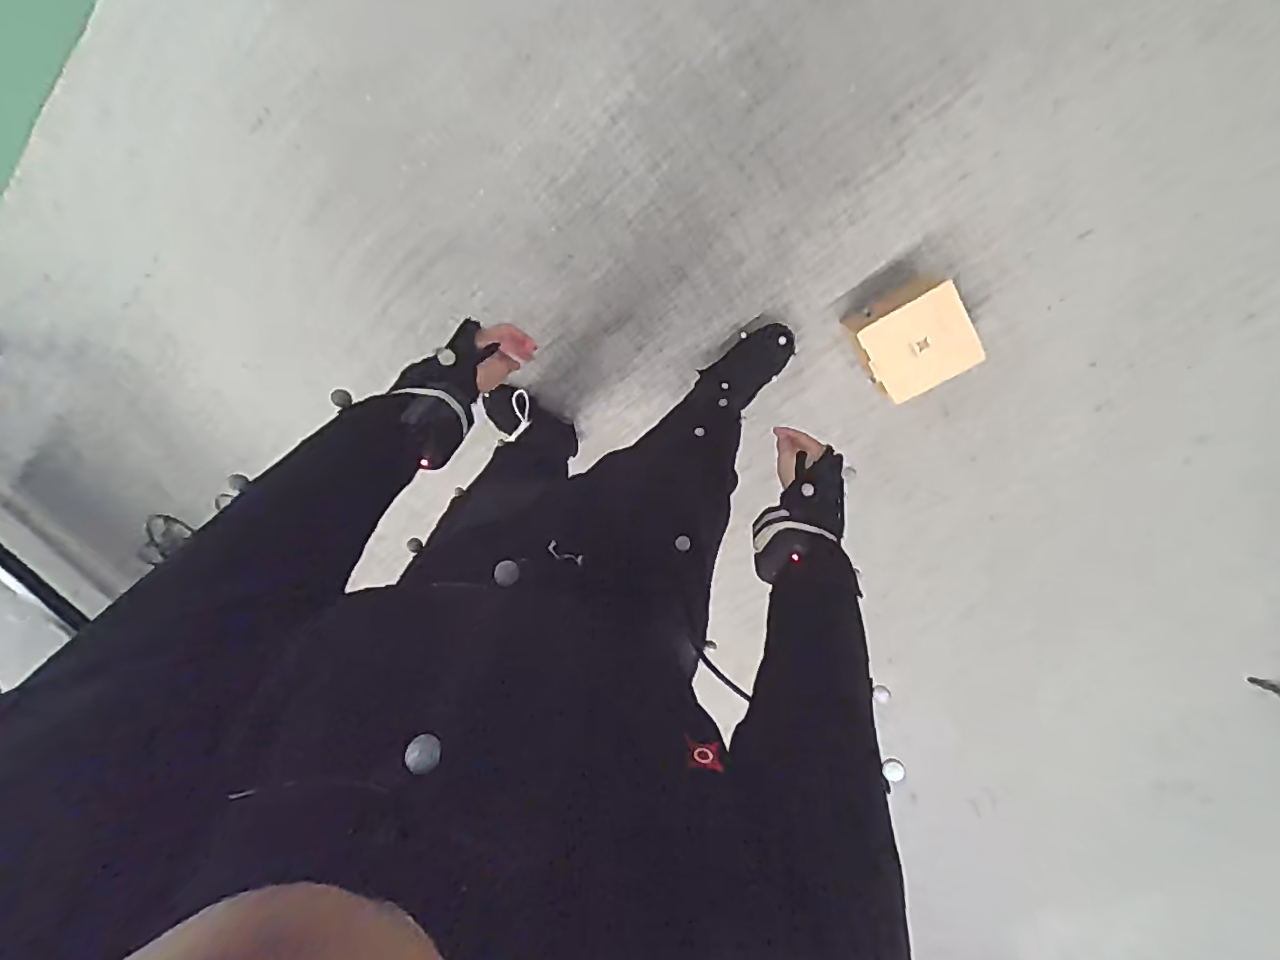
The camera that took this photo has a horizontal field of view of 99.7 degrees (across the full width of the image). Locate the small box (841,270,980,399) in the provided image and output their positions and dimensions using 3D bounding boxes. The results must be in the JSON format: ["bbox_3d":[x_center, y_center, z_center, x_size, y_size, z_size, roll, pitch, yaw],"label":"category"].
[{"bbox_3d":[0.509,-0.286,1.049,0.179,0.176,0.168,-29,107,19],"label":"small box"}]
